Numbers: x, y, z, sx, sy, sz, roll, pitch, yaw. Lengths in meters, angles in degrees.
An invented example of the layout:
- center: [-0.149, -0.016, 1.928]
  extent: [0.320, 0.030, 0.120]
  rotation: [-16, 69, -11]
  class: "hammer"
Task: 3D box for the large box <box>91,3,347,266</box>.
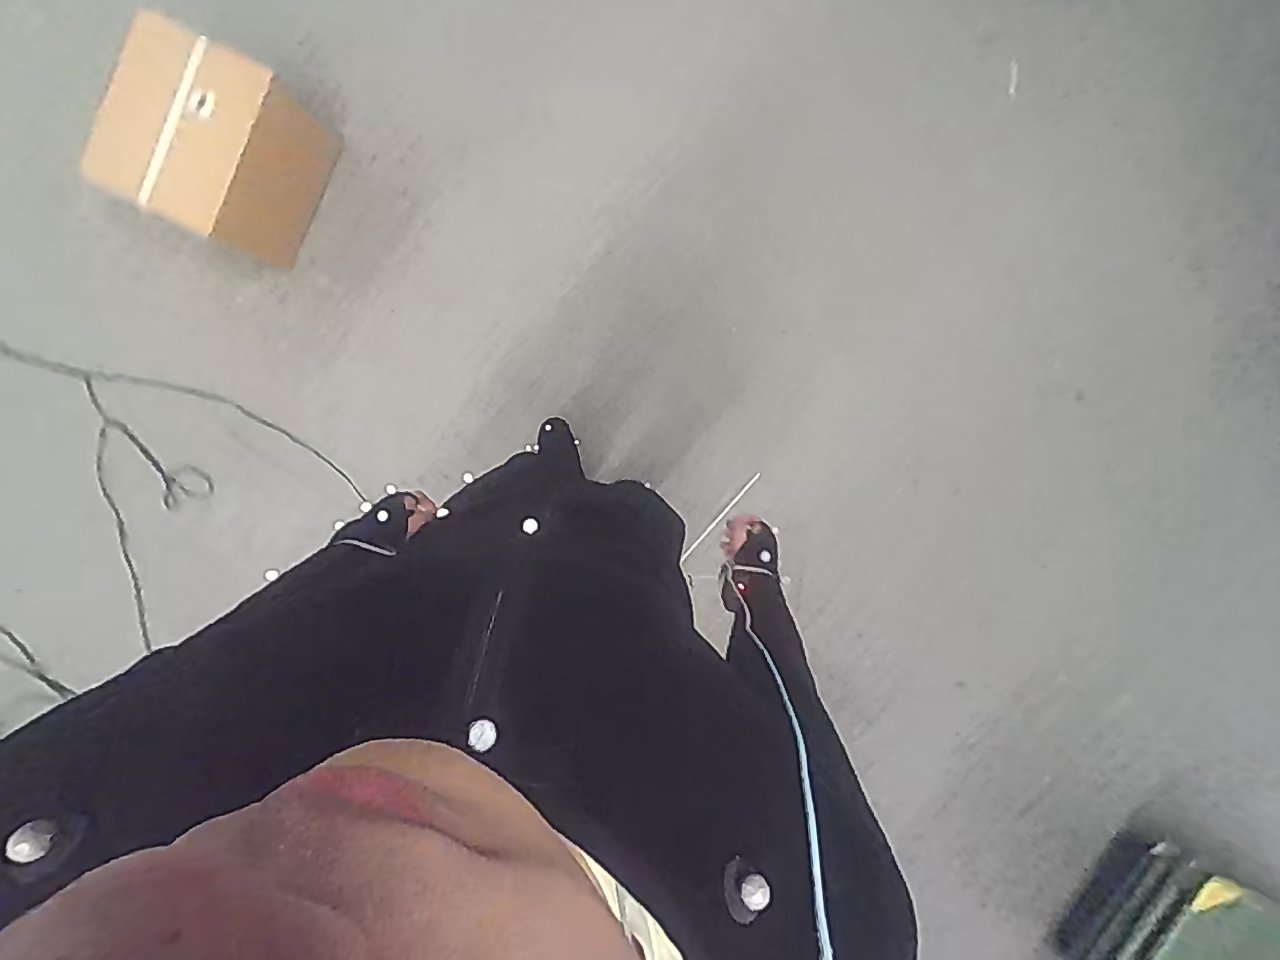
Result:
- center: [-1.033, -0.833, 1.371]
  extent: [0.320, 0.320, 0.408]
  rotation: [26, 94, -4]
  class: "large box"
